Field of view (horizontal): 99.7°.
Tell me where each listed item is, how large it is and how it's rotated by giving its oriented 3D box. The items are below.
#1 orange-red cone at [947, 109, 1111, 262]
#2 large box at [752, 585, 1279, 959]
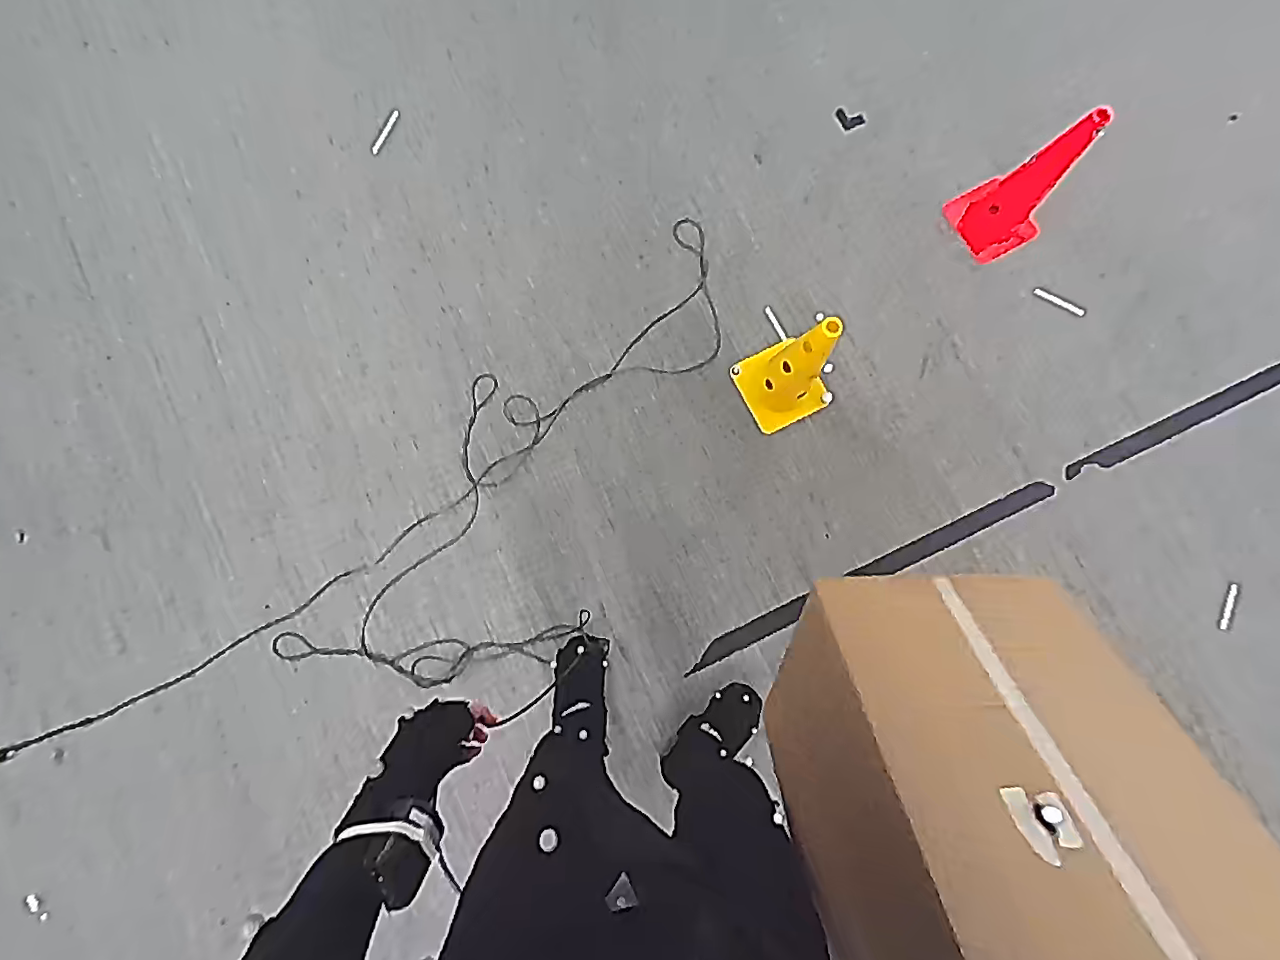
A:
[{"bbox_3d":[0.949,-0.719,1.284,0.199,0.360,0.198,-27,83,-3],"label":"orange-red cone"},{"bbox_3d":[0.349,0.372,0.612,0.320,0.320,0.408,1,40,-6],"label":"large box"}]
